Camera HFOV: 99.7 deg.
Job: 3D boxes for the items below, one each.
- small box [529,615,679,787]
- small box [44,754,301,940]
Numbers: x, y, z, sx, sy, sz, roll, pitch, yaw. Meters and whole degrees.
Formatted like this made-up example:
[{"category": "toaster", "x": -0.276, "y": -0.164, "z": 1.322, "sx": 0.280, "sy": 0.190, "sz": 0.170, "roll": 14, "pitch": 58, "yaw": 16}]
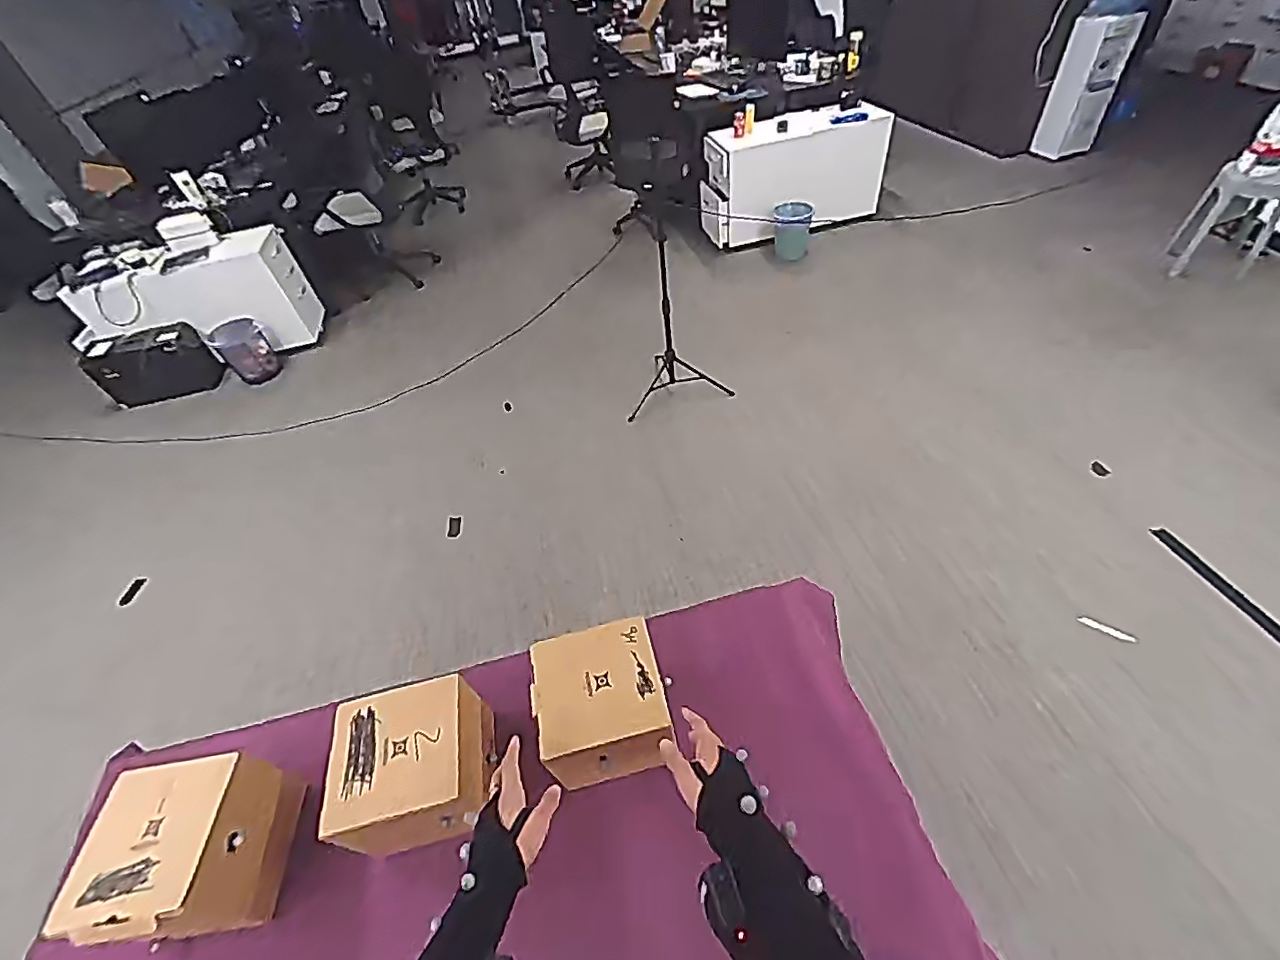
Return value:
[{"category": "small box", "x": -0.050, "y": 0.329, "z": 0.797, "sx": 0.179, "sy": 0.176, "sz": 0.168, "roll": -14, "pitch": 49, "yaw": -3}, {"category": "small box", "x": -0.601, "y": 0.498, "z": 0.730, "sx": 0.168, "sy": 0.176, "sz": 0.179, "roll": -10, "pitch": 46, "yaw": 0}]
